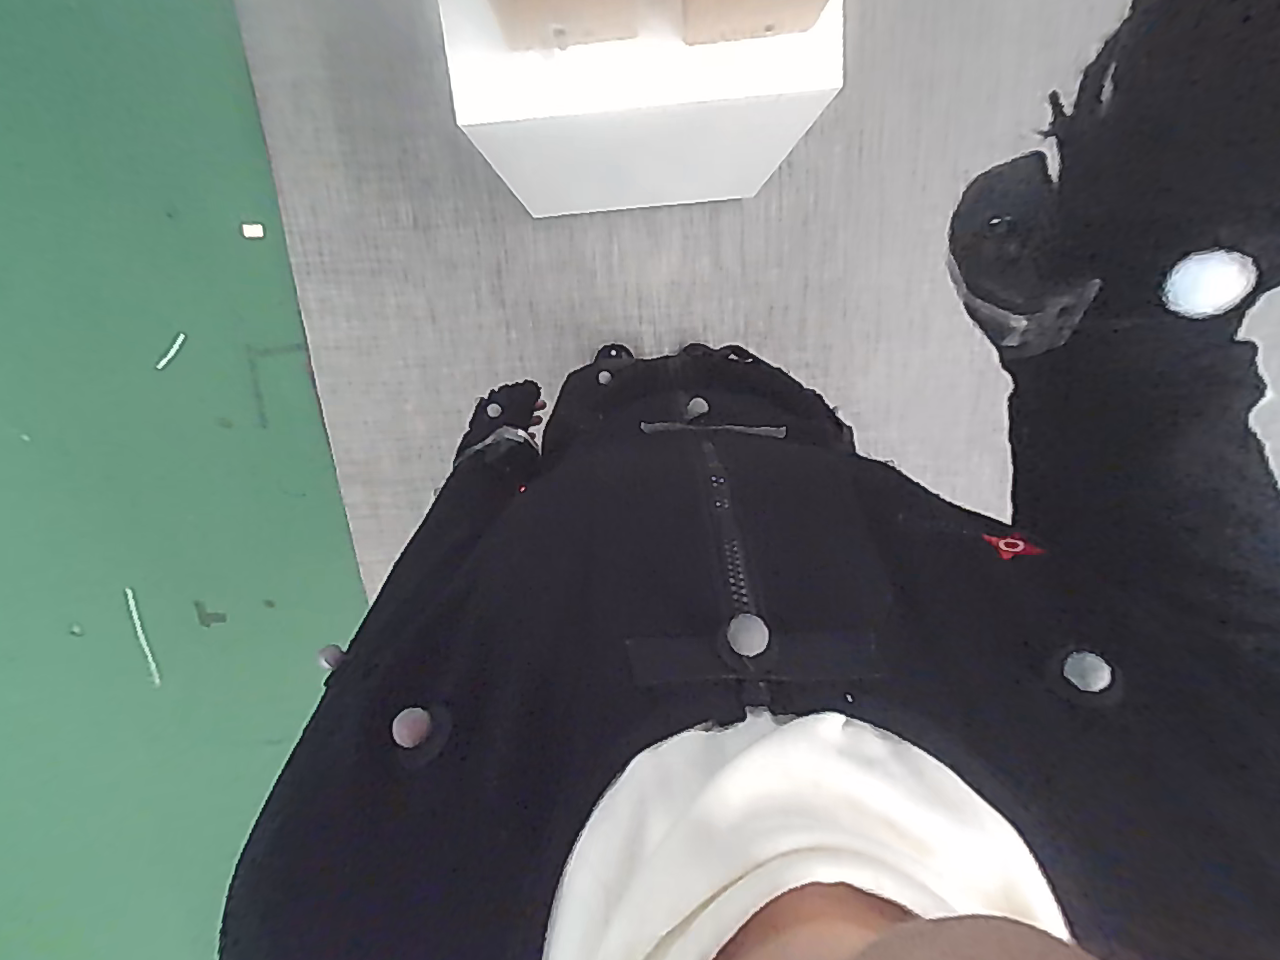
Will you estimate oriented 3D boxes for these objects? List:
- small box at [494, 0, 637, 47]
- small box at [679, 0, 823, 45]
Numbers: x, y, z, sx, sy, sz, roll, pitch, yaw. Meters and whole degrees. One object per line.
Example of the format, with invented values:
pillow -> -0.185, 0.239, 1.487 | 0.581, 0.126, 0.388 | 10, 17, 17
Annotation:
small box -> -0.093, -0.617, 0.582 | 0.168, 0.176, 0.179 | -6, 105, 2
small box -> 0.127, -0.629, 0.593 | 0.168, 0.176, 0.179 | -5, 103, 1
